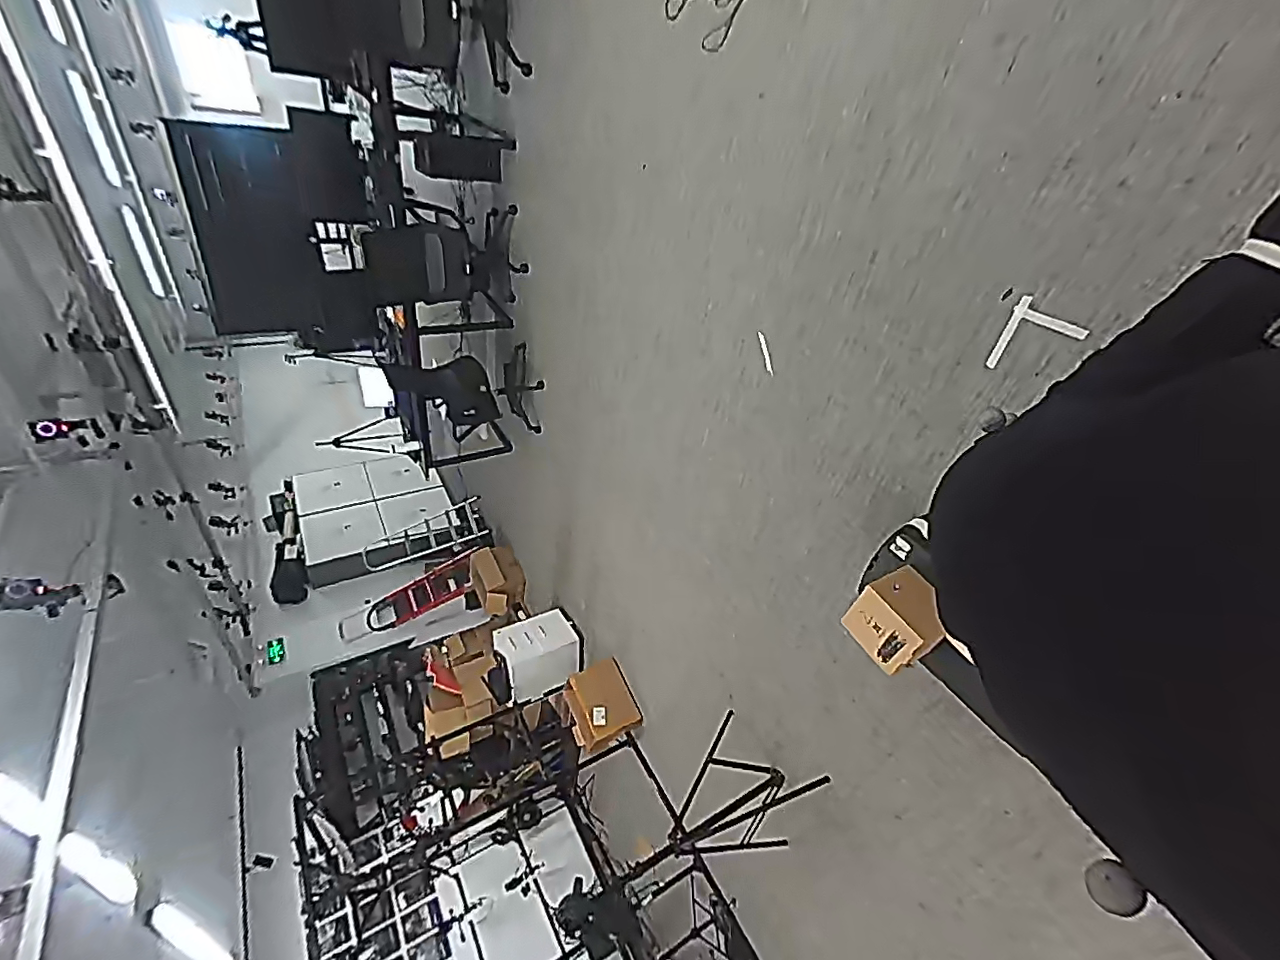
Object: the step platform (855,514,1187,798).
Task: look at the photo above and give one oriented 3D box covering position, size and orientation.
[{"bbox_3d":[0.878,0.404,1.353,0.684,0.204,0.286,49,142,38],"label":"step platform"}]
